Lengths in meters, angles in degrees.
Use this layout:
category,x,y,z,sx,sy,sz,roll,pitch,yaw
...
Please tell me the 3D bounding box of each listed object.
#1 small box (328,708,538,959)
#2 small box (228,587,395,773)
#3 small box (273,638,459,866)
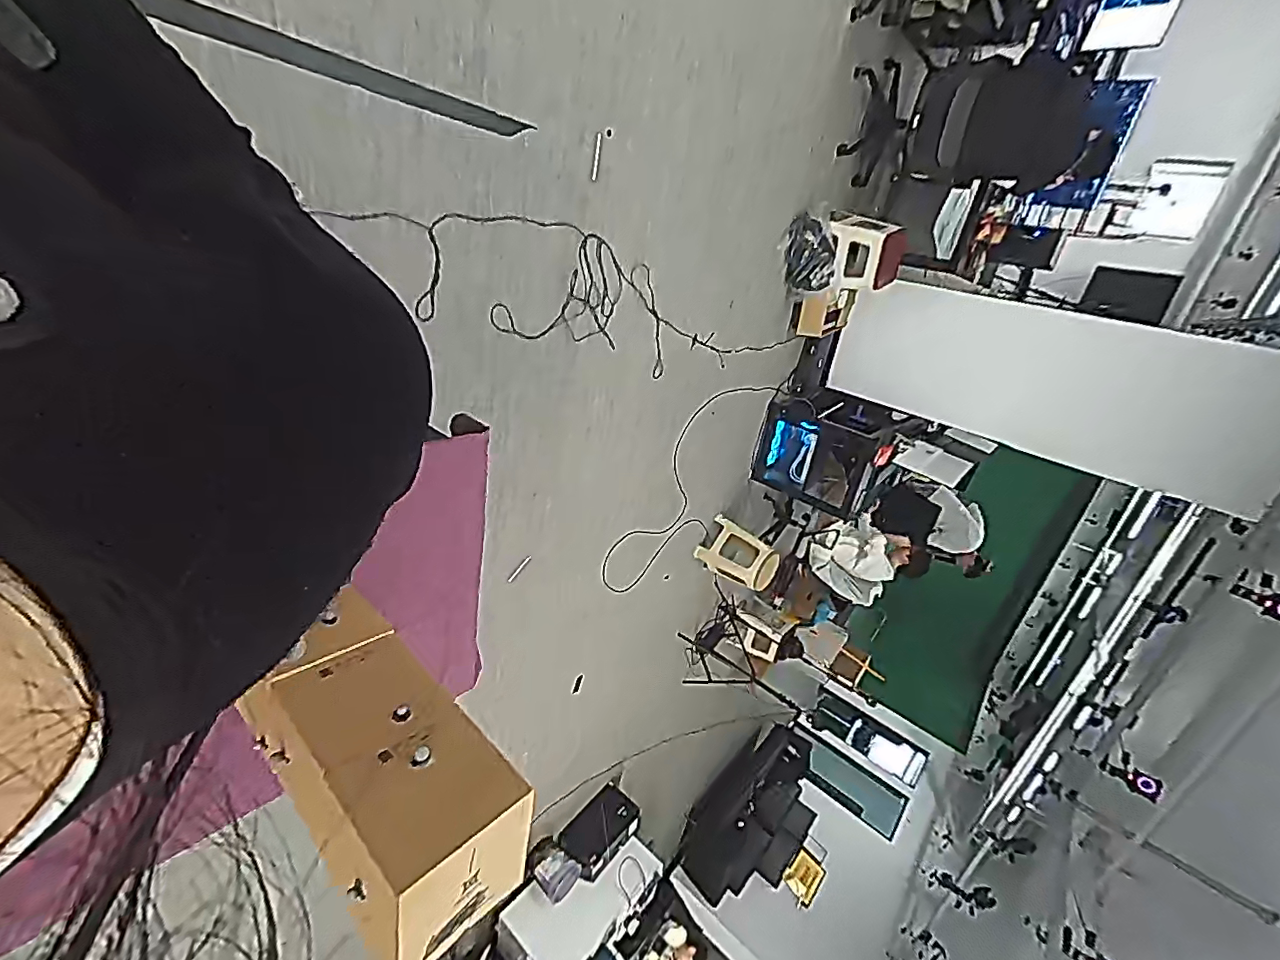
category,x,y,z,sx,sy,sz,roll,pitch,yaw
small box,-0.245,0.413,0.636,0.168,0.176,0.179,-17,126,-49
small box,-0.490,0.282,0.814,0.168,0.176,0.179,-17,126,-49
small box,-0.367,0.351,0.729,0.168,0.176,0.179,-18,128,-48
